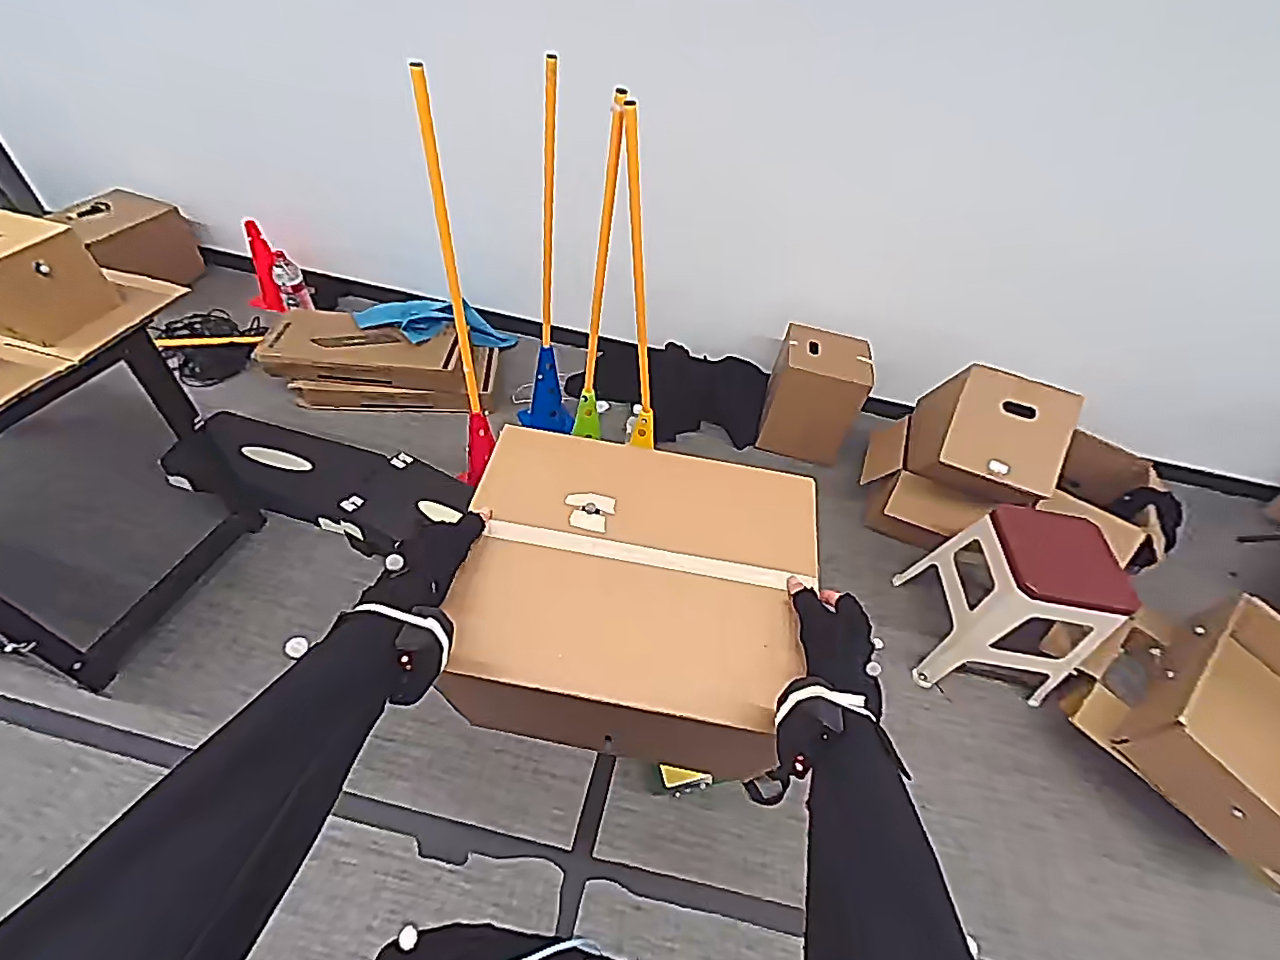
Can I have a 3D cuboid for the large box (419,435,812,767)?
[{"bbox_3d":[-0.012,0.178,0.739,0.408,0.320,0.320,10,55,2],"label":"large box"}]
